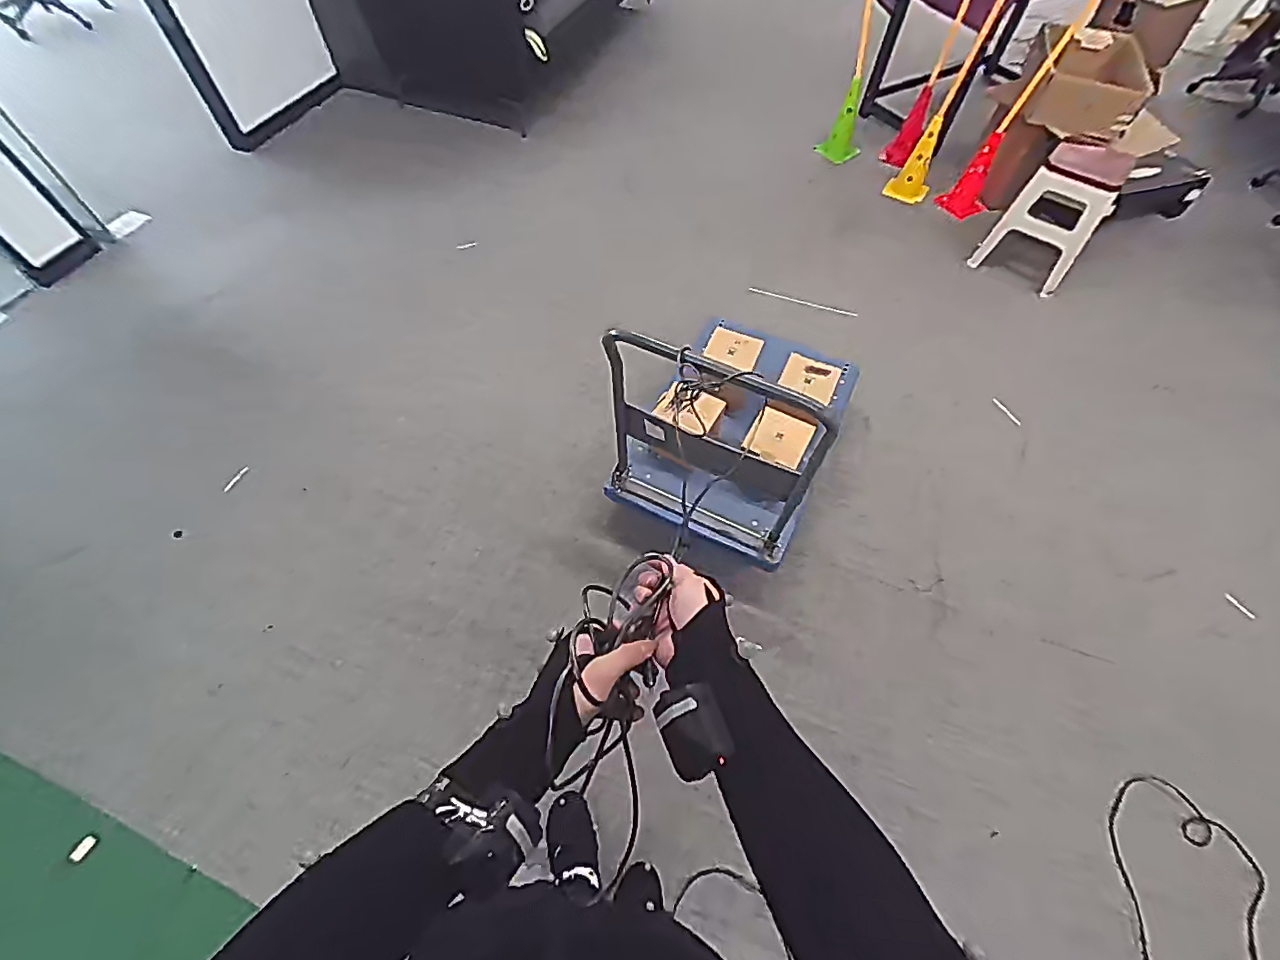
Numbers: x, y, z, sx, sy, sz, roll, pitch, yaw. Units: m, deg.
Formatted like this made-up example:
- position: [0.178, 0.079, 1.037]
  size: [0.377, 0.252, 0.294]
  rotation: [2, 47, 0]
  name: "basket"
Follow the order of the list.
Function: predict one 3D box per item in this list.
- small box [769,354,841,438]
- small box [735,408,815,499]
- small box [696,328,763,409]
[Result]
- position: [0.516, -0.263, 1.723]
  size: [0.168, 0.176, 0.179]
  rotation: [22, 62, 14]
  name: "small box"
- position: [0.395, -0.077, 1.612]
  size: [0.168, 0.176, 0.179]
  rotation: [26, 62, 15]
  name: "small box"
- position: [0.290, -0.363, 1.786]
  size: [0.168, 0.176, 0.179]
  rotation: [21, 61, 12]
  name: "small box"
